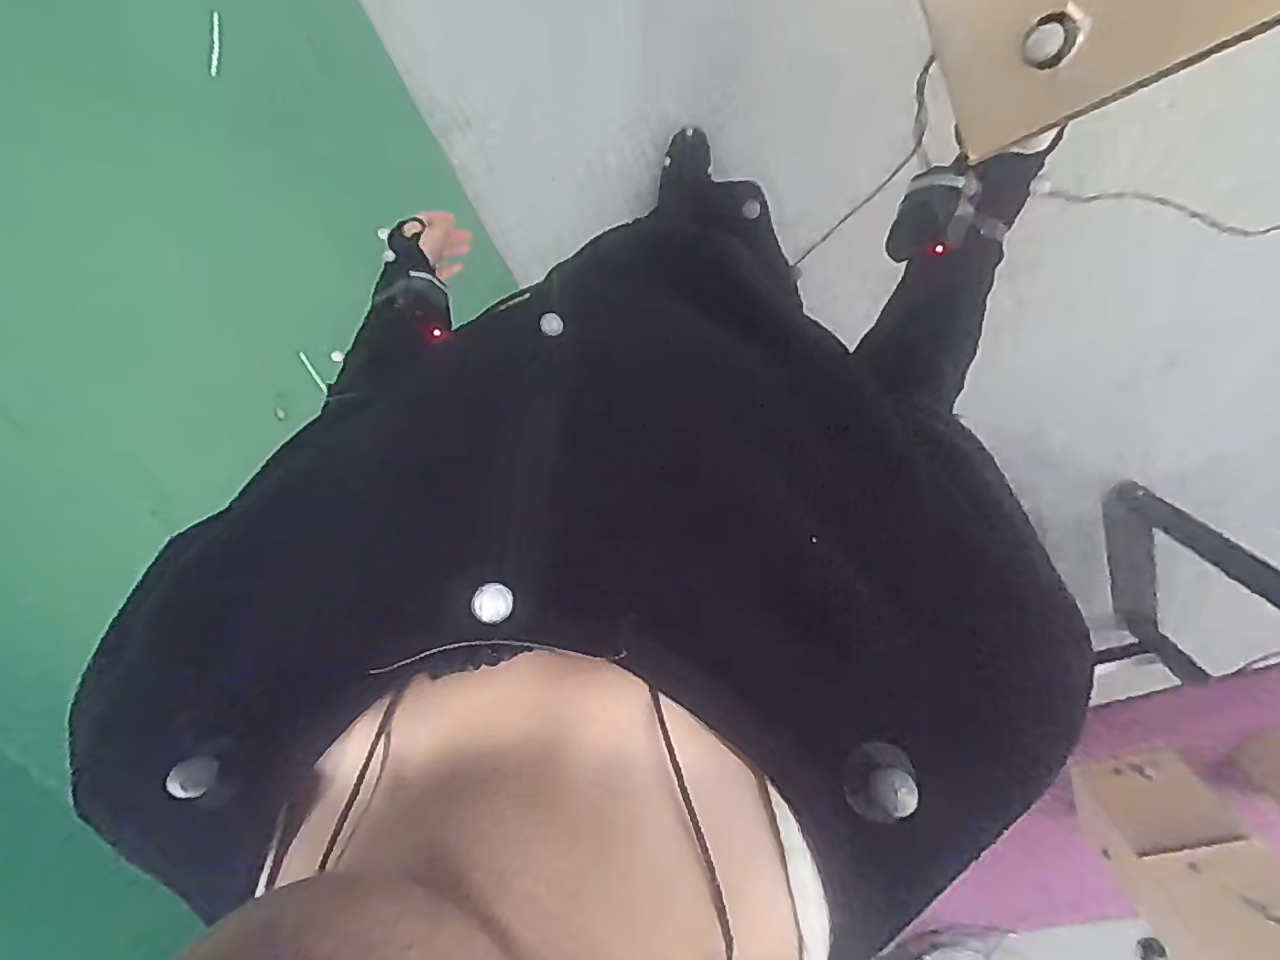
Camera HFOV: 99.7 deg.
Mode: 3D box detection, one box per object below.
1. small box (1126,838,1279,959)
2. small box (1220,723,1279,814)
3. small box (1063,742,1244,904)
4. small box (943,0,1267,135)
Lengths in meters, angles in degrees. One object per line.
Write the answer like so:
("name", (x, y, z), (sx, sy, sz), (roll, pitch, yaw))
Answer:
("small box", (0.873, 0.662, 0.803), (0.168, 0.176, 0.179), (-21, 116, 12))
("small box", (1.146, 0.508, 0.889), (0.168, 0.176, 0.179), (39, 113, -16))
("small box", (0.888, 0.600, 0.954), (0.168, 0.176, 0.179), (-20, 115, 12))
("small box", (0.246, -0.316, 0.254), (0.179, 0.168, 0.176), (-7, 127, 50))
